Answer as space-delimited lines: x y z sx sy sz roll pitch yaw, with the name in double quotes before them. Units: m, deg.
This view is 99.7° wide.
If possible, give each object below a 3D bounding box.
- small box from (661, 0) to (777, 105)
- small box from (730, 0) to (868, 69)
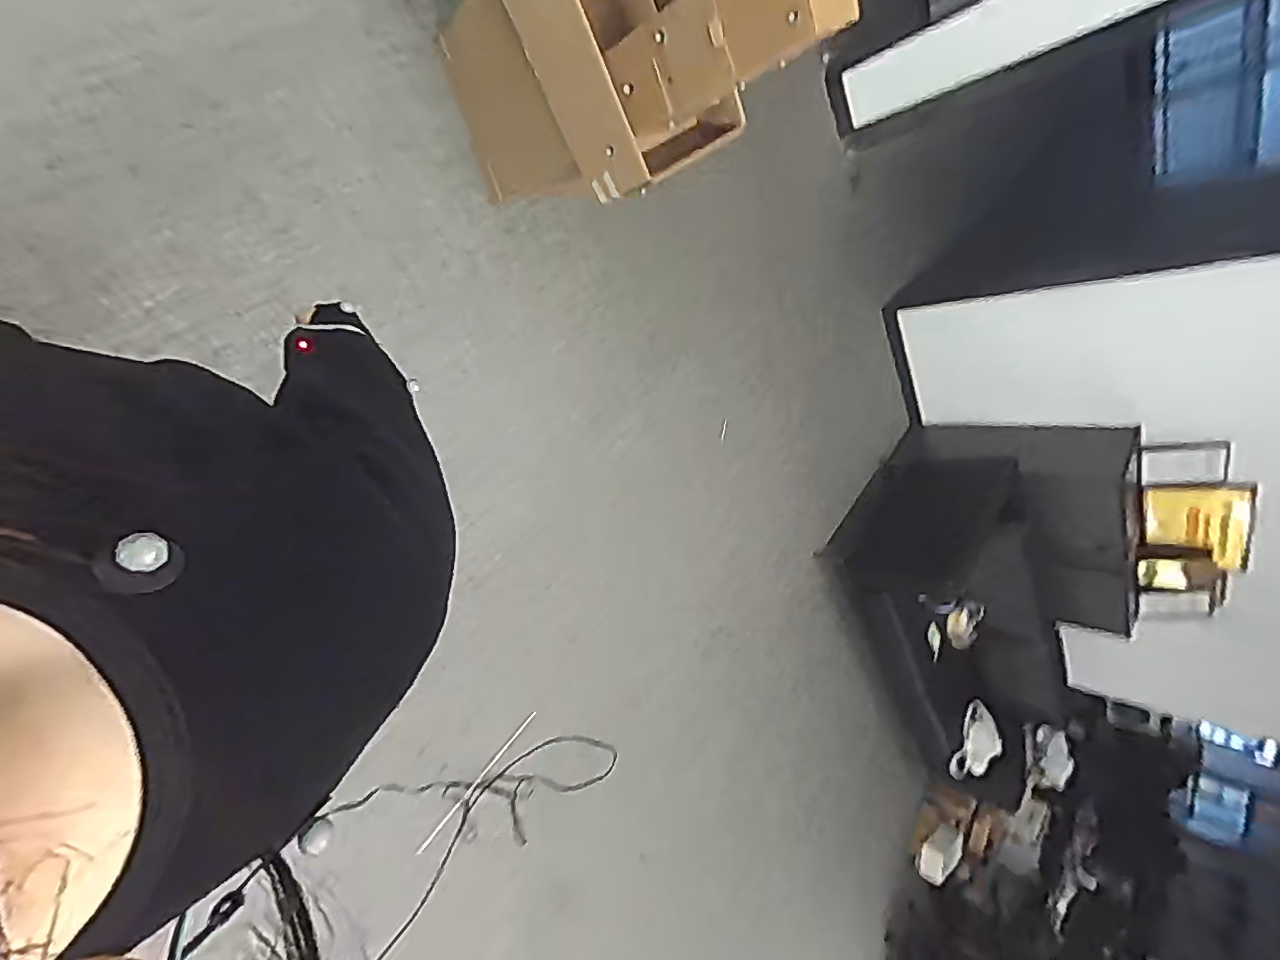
"small box" 0.162 -0.879 1.067 0.179 0.176 0.168 -42 120 -29
"small box" 0.266 -0.868 0.942 0.168 0.176 0.179 -42 121 -28
